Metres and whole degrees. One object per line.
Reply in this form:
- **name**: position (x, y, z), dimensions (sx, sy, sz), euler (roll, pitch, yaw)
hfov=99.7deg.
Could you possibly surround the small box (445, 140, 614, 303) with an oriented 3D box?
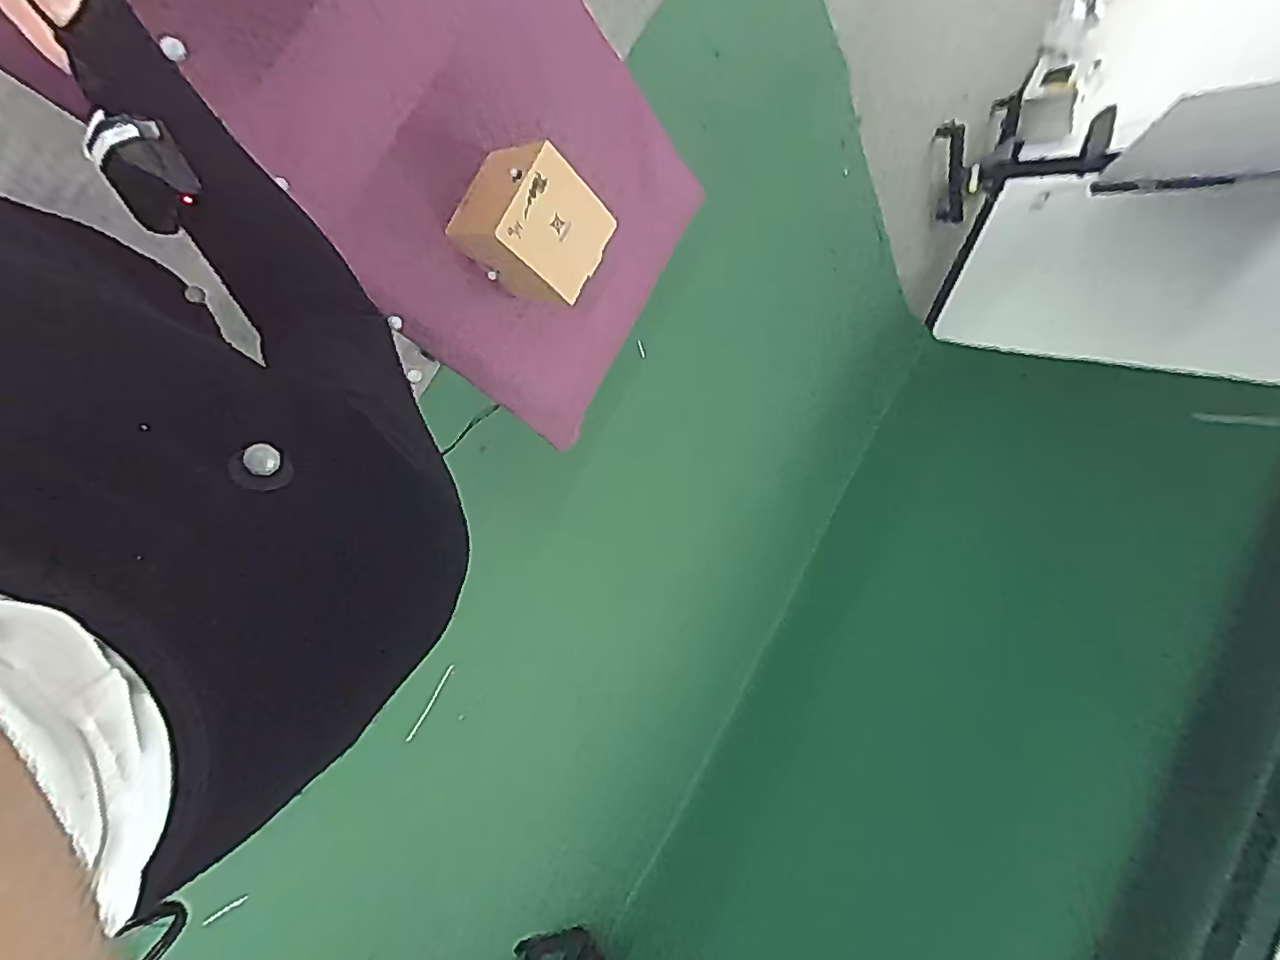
- **small box**: position (-0.182, -0.422, 0.894), dimensions (0.179, 0.176, 0.168), euler (34, 83, -48)
